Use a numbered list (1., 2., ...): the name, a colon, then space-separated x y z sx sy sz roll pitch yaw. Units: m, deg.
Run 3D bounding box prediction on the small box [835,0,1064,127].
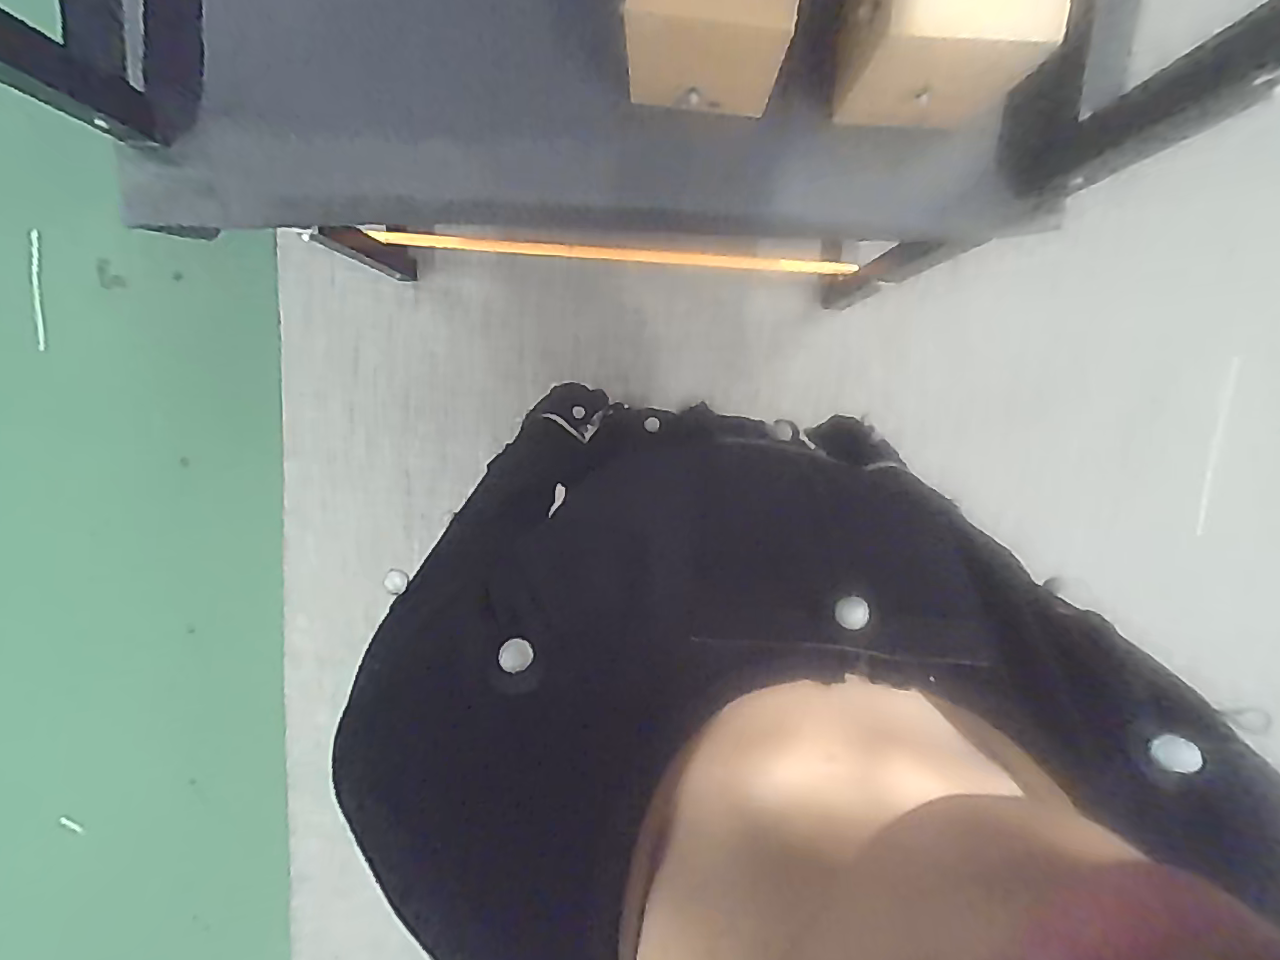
1. small box: 0.323 -0.513 0.582 0.168 0.176 0.179 4 97 1
